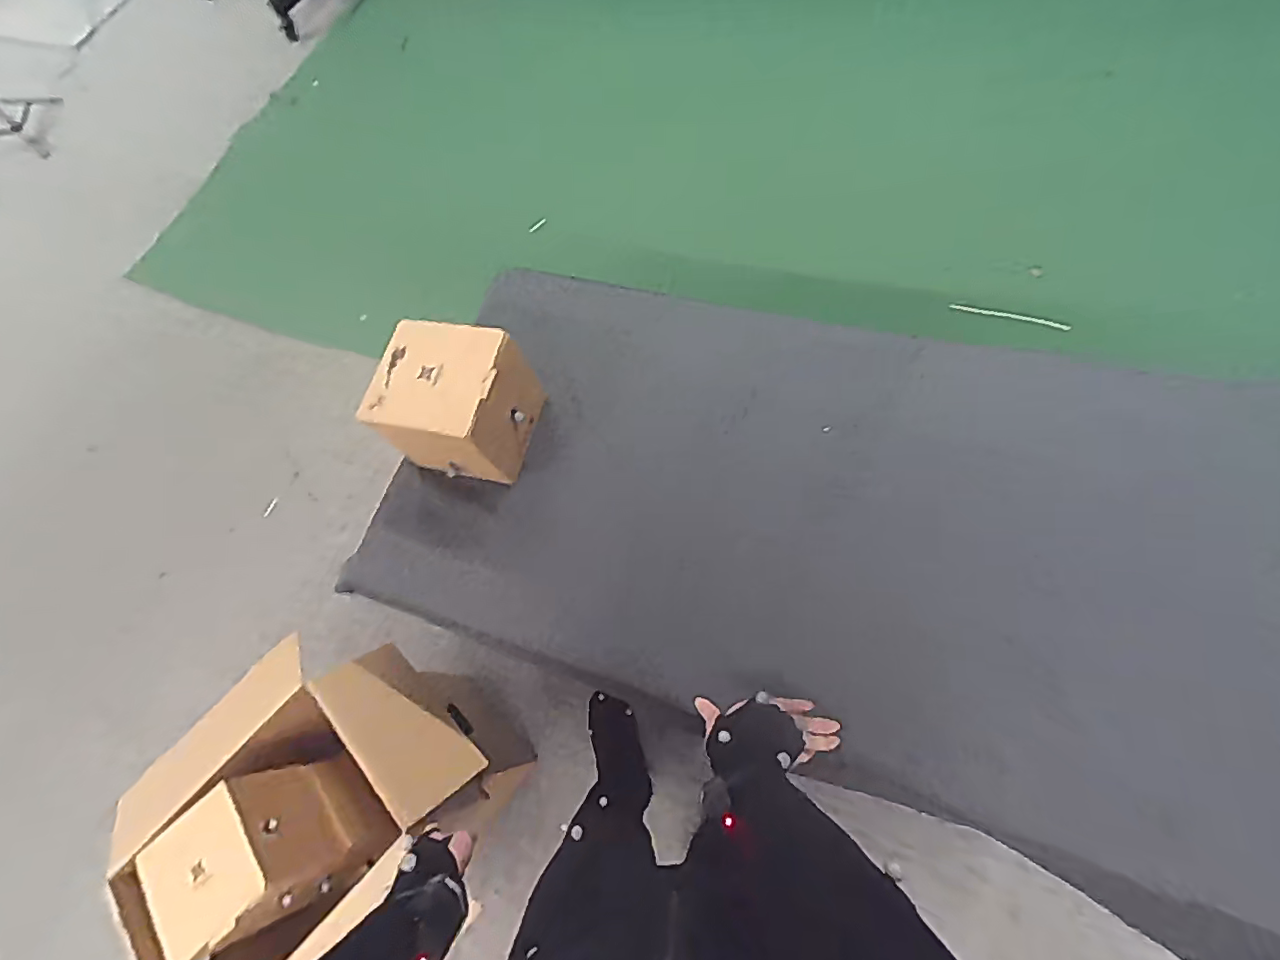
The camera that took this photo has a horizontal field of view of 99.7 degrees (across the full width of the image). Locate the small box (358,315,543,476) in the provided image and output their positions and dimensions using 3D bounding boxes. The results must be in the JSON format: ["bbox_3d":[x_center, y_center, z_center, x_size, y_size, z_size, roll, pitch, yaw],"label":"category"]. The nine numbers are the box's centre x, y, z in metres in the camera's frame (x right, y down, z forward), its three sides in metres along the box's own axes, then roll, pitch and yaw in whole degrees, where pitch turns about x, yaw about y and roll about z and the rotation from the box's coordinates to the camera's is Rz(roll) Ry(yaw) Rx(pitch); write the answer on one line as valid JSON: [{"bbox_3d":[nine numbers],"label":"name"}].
[{"bbox_3d":[-0.266,-0.118,0.806,0.179,0.176,0.168,11,71,13],"label":"small box"}]
